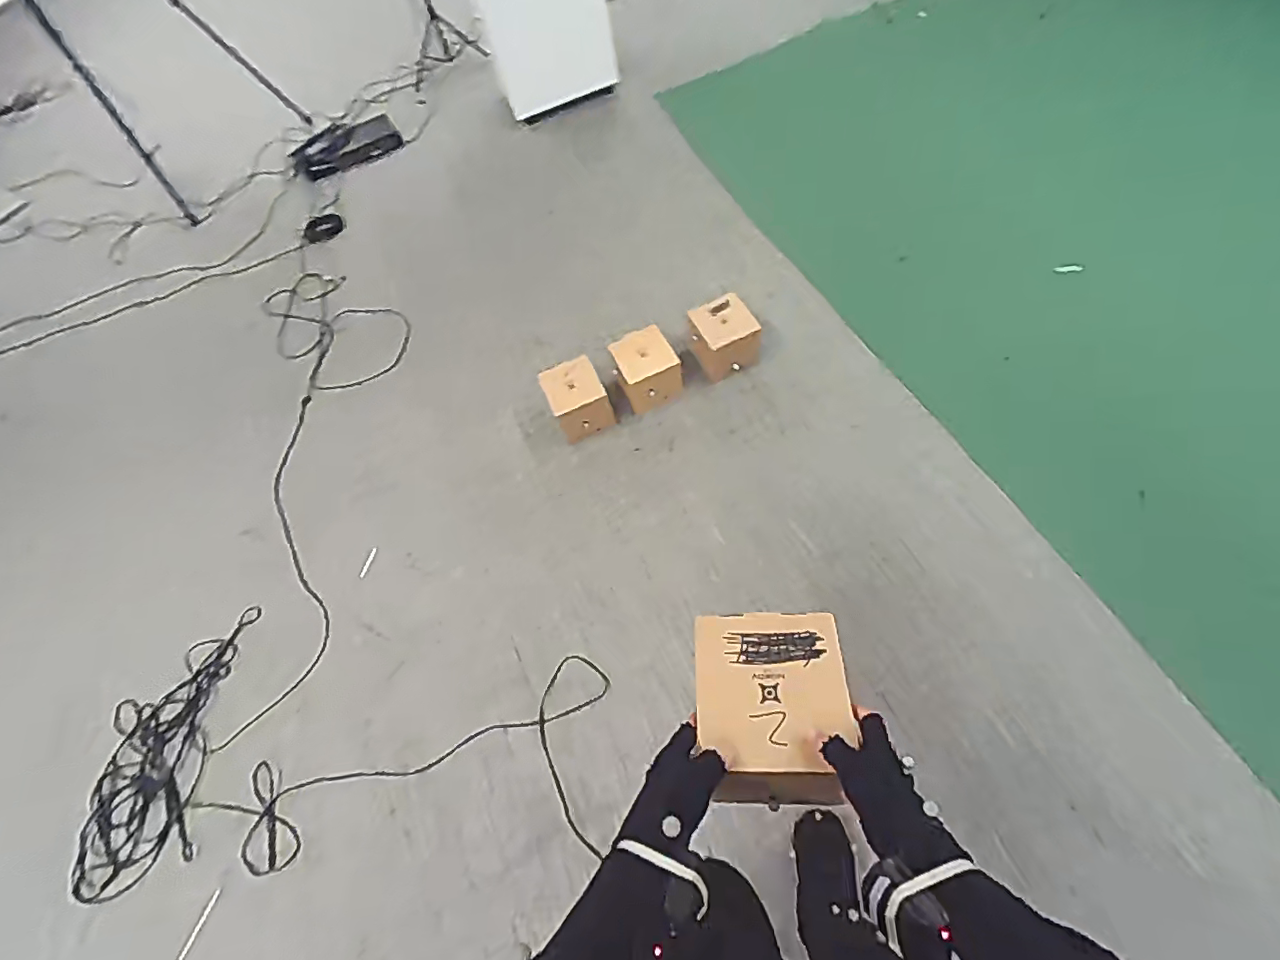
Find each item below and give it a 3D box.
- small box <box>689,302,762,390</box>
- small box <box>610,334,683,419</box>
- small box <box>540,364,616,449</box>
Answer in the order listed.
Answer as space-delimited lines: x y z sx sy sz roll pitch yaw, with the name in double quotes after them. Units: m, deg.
0.266 -0.417 1.704 0.168 0.176 0.179 -25 62 -5 "small box"
0.025 -0.313 1.686 0.168 0.176 0.179 -25 61 -5 "small box"
-0.186 -0.218 1.666 0.168 0.176 0.179 -24 61 -5 "small box"
